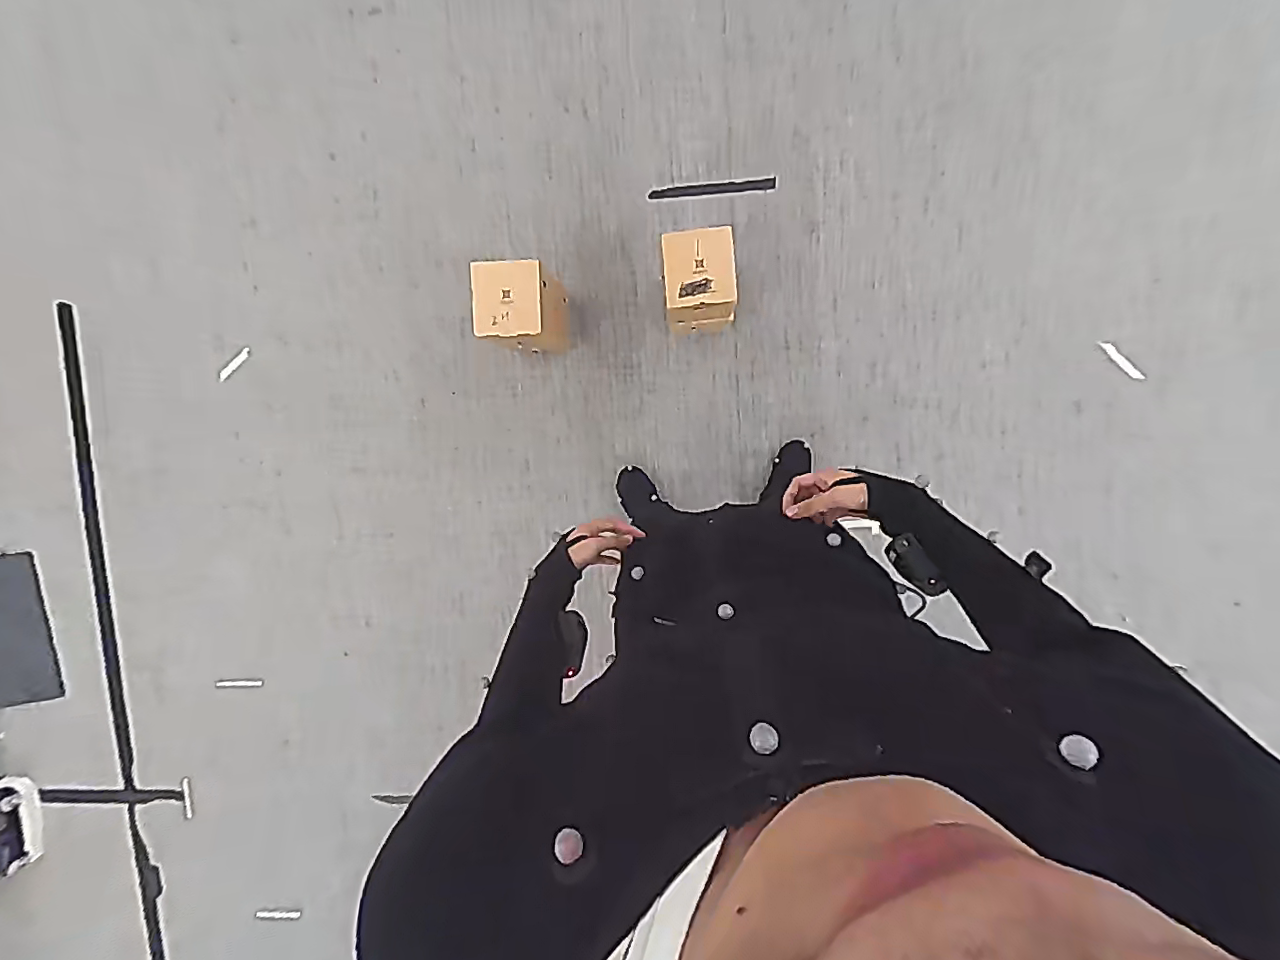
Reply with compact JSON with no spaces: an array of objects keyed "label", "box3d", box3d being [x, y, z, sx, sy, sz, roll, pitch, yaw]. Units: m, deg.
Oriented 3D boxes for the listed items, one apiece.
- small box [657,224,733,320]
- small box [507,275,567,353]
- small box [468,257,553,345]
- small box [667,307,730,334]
[{"label":"small box","box3d":[0.133,-0.497,1.322,0.168,0.176,0.179,-5,93,3]},{"label":"small box","box3d":[-0.301,-0.458,1.510,0.168,0.176,0.179,0,95,4]},{"label":"small box","box3d":[-0.317,-0.440,1.348,0.168,0.176,0.179,-1,96,4]},{"label":"small box","box3d":[0.153,-0.505,1.485,0.168,0.176,0.179,-5,94,3]}]
